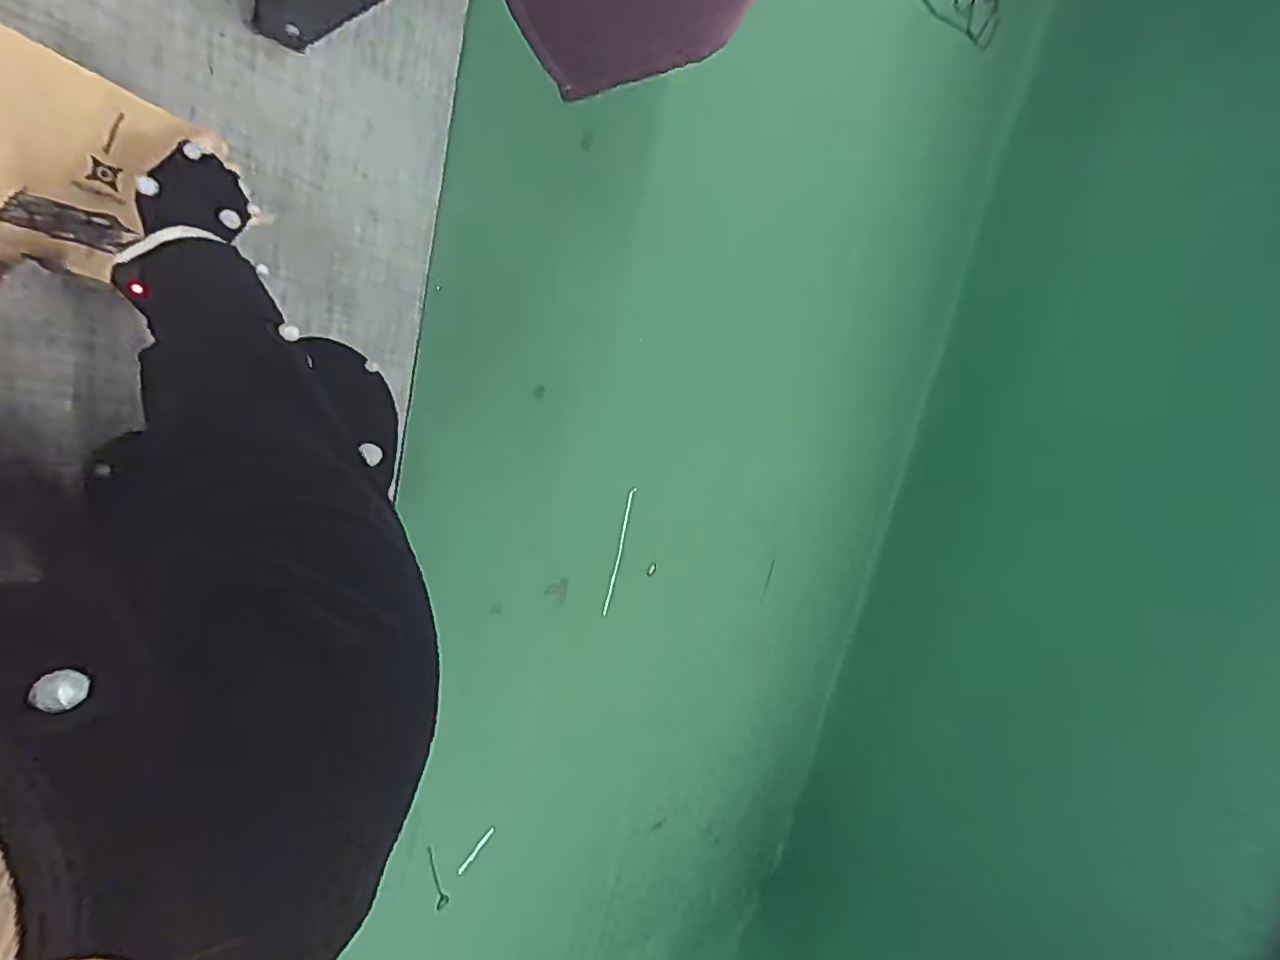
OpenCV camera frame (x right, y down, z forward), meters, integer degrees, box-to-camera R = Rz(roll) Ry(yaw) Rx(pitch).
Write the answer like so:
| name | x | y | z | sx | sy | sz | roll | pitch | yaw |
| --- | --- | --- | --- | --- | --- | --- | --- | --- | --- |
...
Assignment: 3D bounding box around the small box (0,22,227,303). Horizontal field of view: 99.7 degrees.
| name | x | y | z | sx | sy | sz | roll | pitch | yaw |
| --- | --- | --- | --- | --- | --- | --- | --- | --- | --- |
| small box | -0.558 | -0.300 | 0.549 | 0.168 | 0.176 | 0.179 | 13 | 96 | -52 |
